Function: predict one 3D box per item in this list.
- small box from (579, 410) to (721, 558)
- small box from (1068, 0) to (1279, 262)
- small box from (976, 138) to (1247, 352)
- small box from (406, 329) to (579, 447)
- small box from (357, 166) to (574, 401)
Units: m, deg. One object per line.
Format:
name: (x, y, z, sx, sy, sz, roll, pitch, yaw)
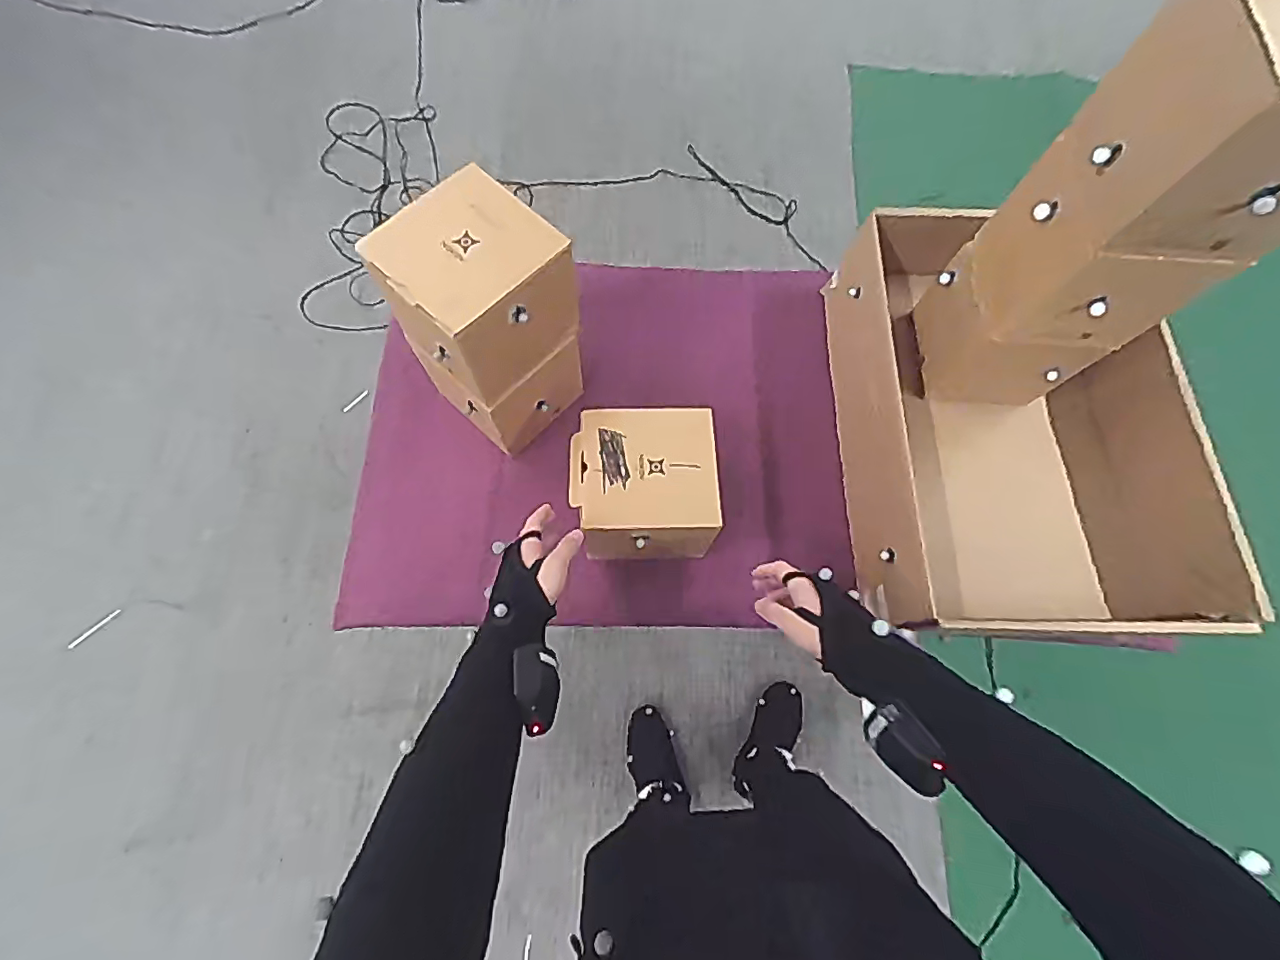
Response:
small box: (0.008, 0.013, 0.761, 0.179, 0.176, 0.168, -1, 69, -3)
small box: (0.551, -0.329, 0.503, 0.168, 0.176, 0.179, 3, 72, -1)
small box: (0.546, -0.274, 0.658, 0.168, 0.176, 0.179, 3, 71, 0)
small box: (-0.208, -0.172, 0.819, 0.179, 0.176, 0.168, 42, 73, 11)
small box: (-0.195, -0.230, 0.667, 0.168, 0.176, 0.179, 42, 74, 10)
